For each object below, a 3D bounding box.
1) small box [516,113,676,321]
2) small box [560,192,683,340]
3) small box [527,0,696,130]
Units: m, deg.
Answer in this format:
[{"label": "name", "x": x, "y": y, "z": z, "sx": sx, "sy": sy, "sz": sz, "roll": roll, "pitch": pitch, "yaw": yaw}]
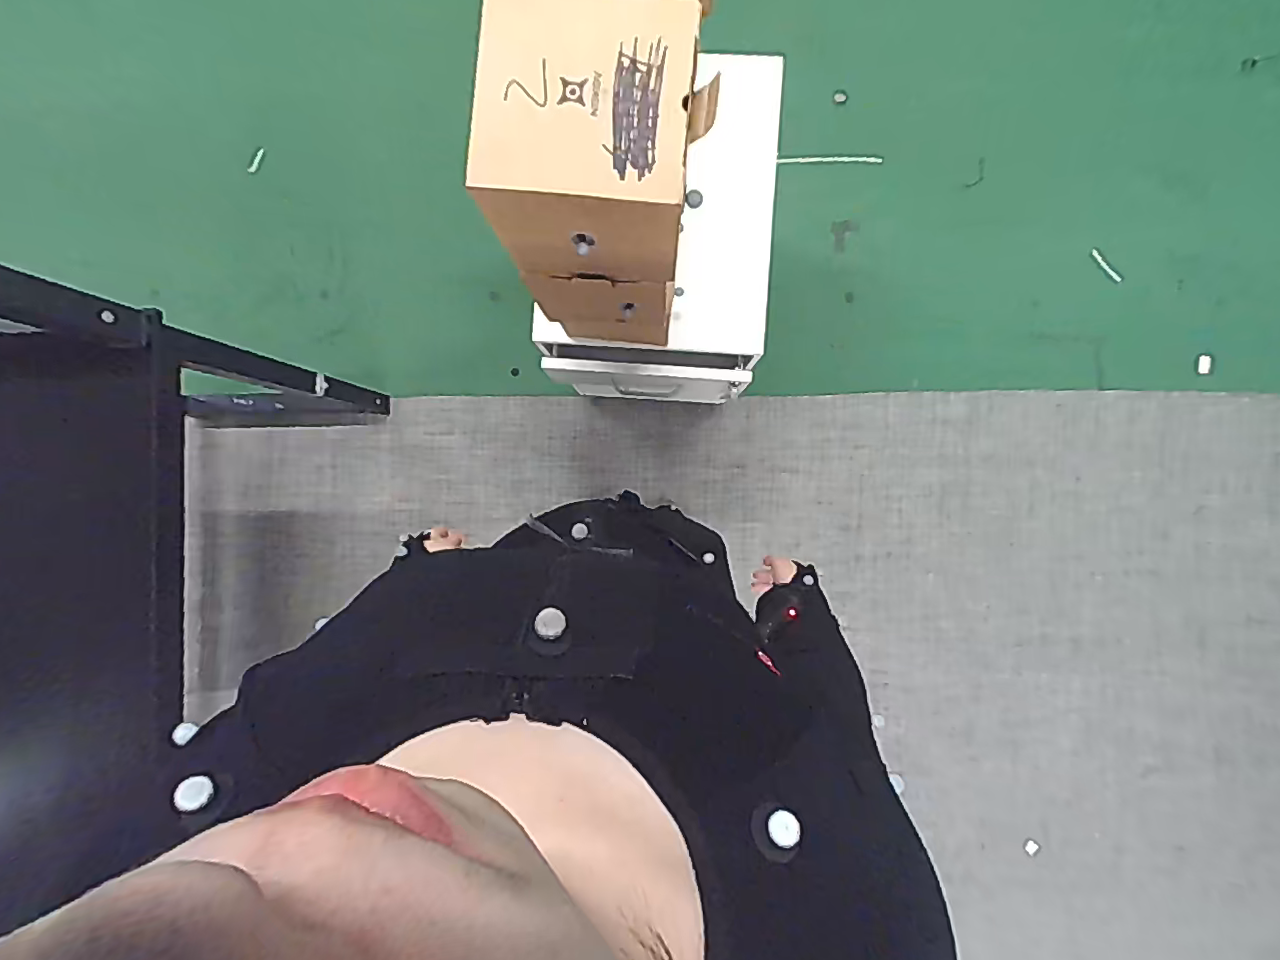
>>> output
[{"label": "small box", "x": -0.046, "y": -0.304, "z": 0.661, "sx": 0.168, "sy": 0.176, "sz": 0.179, "roll": 3, "pitch": 89, "yaw": 1}, {"label": "small box", "x": -0.034, "y": -0.321, "z": 0.821, "sx": 0.179, "sy": 0.176, "sz": 0.168, "roll": 7, "pitch": 89, "yaw": 1}, {"label": "small box", "x": -0.025, "y": -0.554, "z": 0.661, "sx": 0.179, "sy": 0.176, "sz": 0.168, "roll": 7, "pitch": 90, "yaw": 1}]
